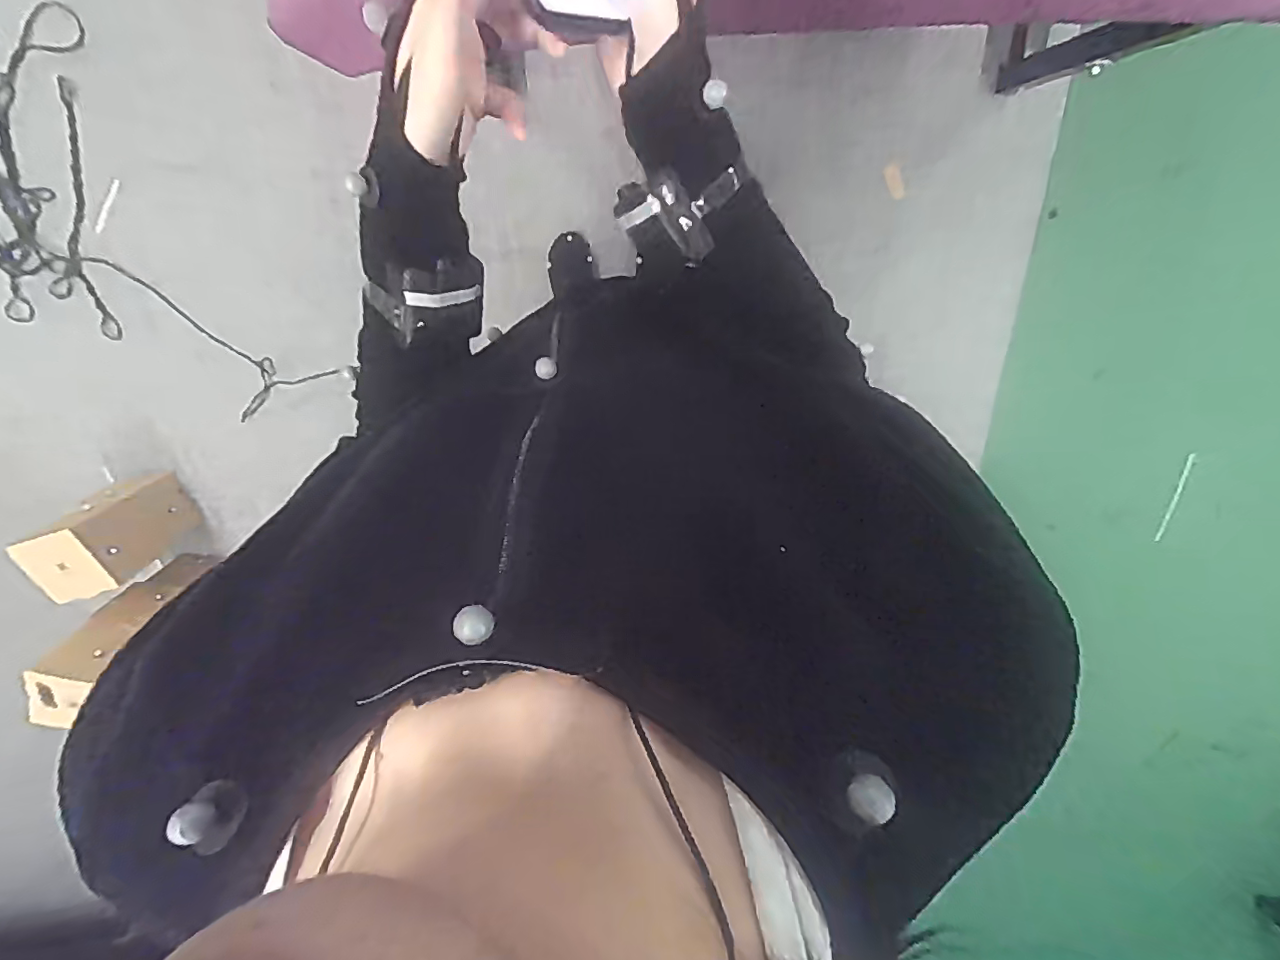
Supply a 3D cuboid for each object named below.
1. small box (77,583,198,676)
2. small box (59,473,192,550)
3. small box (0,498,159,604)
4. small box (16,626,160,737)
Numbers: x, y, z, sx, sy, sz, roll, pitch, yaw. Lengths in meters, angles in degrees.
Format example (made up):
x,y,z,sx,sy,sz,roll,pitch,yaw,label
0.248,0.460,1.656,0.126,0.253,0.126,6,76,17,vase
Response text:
x,y,z,sx,sy,sz,roll,pitch,yaw,label
-1.323,0.404,1.440,0.168,0.176,0.179,12,113,-8,small box
-1.376,0.096,1.468,0.179,0.176,0.168,-11,115,2,small box
-1.354,0.170,1.325,0.168,0.176,0.179,-15,115,3,small box
-1.307,0.474,1.292,0.179,0.176,0.168,16,113,-11,small box
